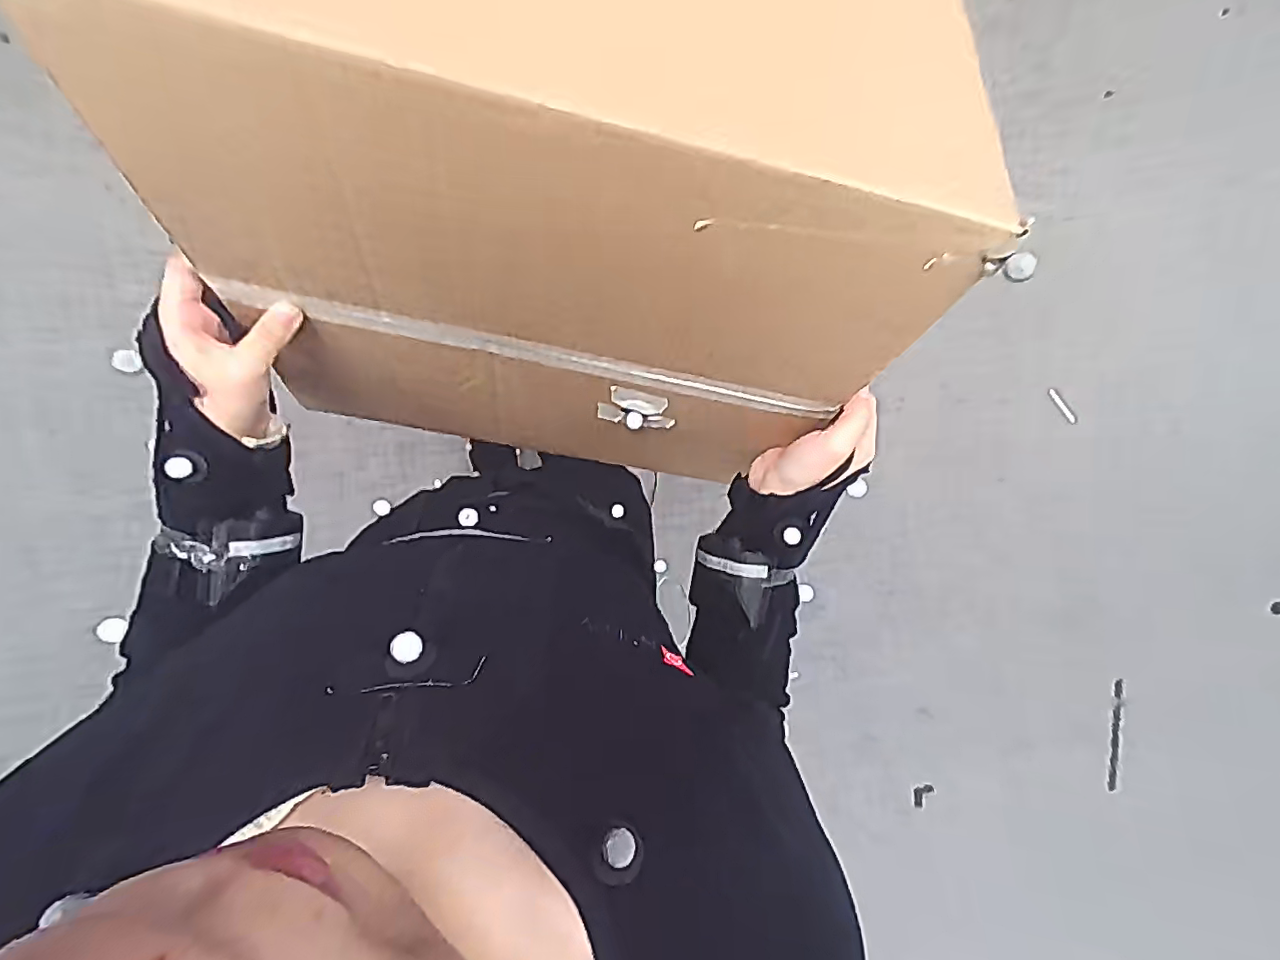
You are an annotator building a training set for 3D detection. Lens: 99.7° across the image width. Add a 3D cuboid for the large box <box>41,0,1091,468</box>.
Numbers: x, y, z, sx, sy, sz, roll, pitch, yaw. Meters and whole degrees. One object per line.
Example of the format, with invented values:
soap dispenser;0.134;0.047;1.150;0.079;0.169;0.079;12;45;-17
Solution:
large box;-0.029;-0.233;0.384;0.408;0.320;0.320;9;68;-8
